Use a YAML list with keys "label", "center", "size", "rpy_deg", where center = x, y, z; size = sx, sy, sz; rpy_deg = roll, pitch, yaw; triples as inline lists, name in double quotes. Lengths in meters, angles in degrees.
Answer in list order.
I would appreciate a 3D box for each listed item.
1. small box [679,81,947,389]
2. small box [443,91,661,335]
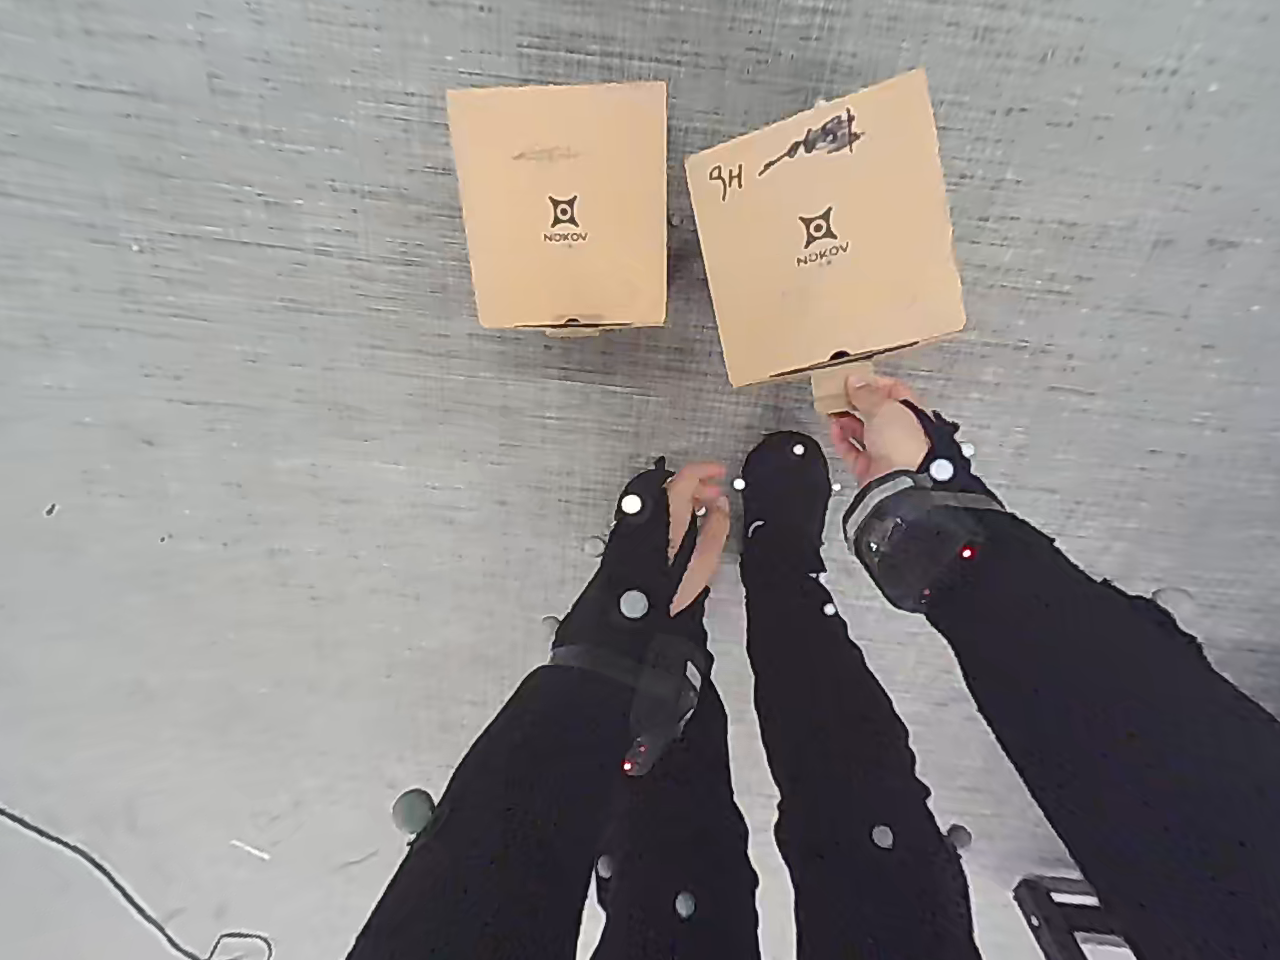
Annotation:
- label: "small box"
  center: [0.145, -0.183, 0.467]
  size: [0.168, 0.176, 0.179]
  rpy_deg: [-11, 97, 17]
- label: "small box"
  center: [-0.063, -0.244, 0.511]
  size: [0.168, 0.176, 0.179]
  rpy_deg: [-2, 115, 1]
